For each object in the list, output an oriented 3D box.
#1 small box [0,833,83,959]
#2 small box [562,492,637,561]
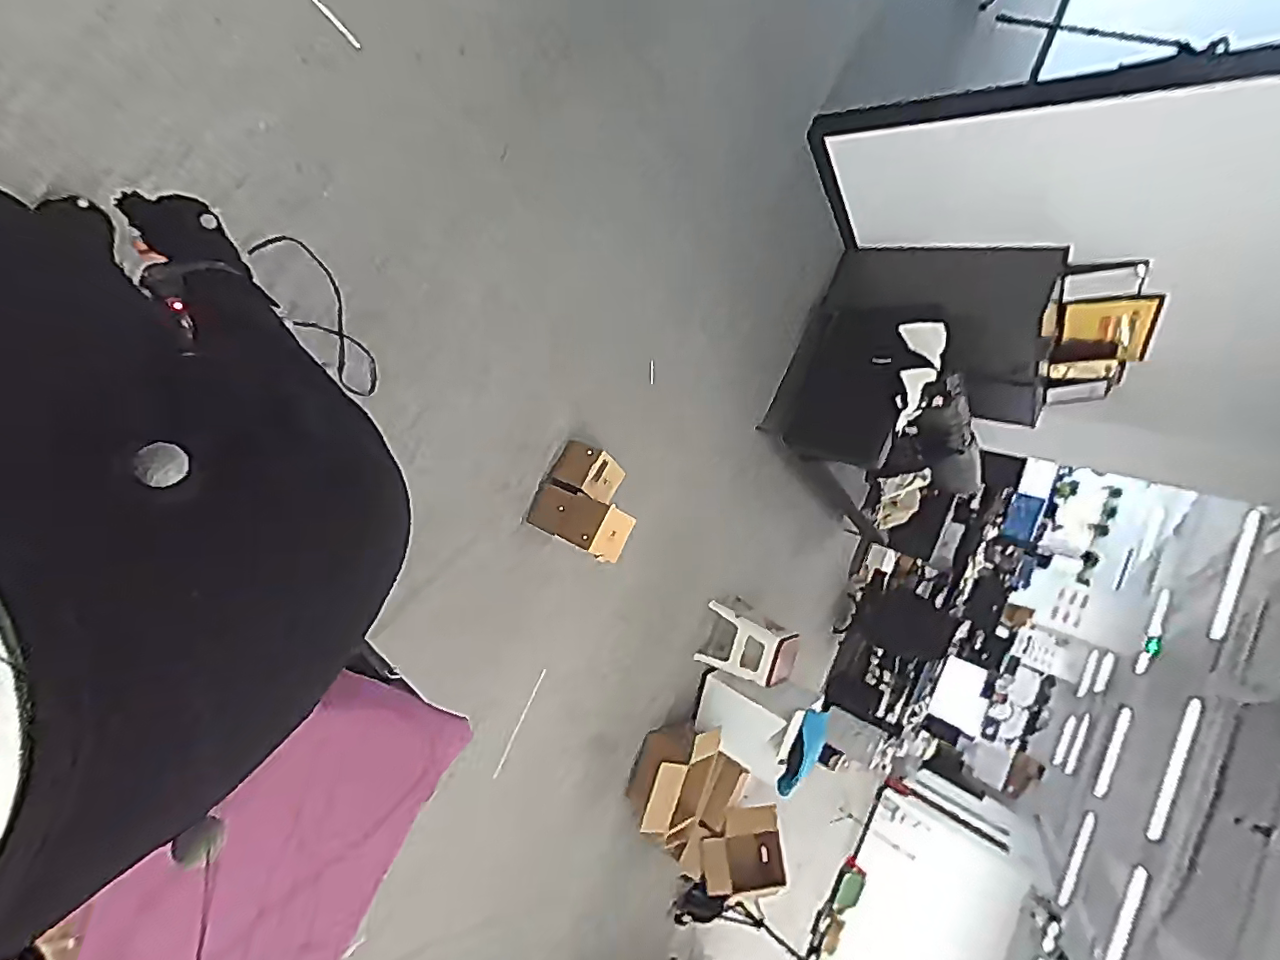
[{"bbox_3d":[-0.679,0.460,0.499,0.168,0.176,0.179,38,76,-50],"label":"small box"},{"bbox_3d":[-0.145,0.161,1.902,0.168,0.176,0.179,33,80,-50],"label":"small box"}]
